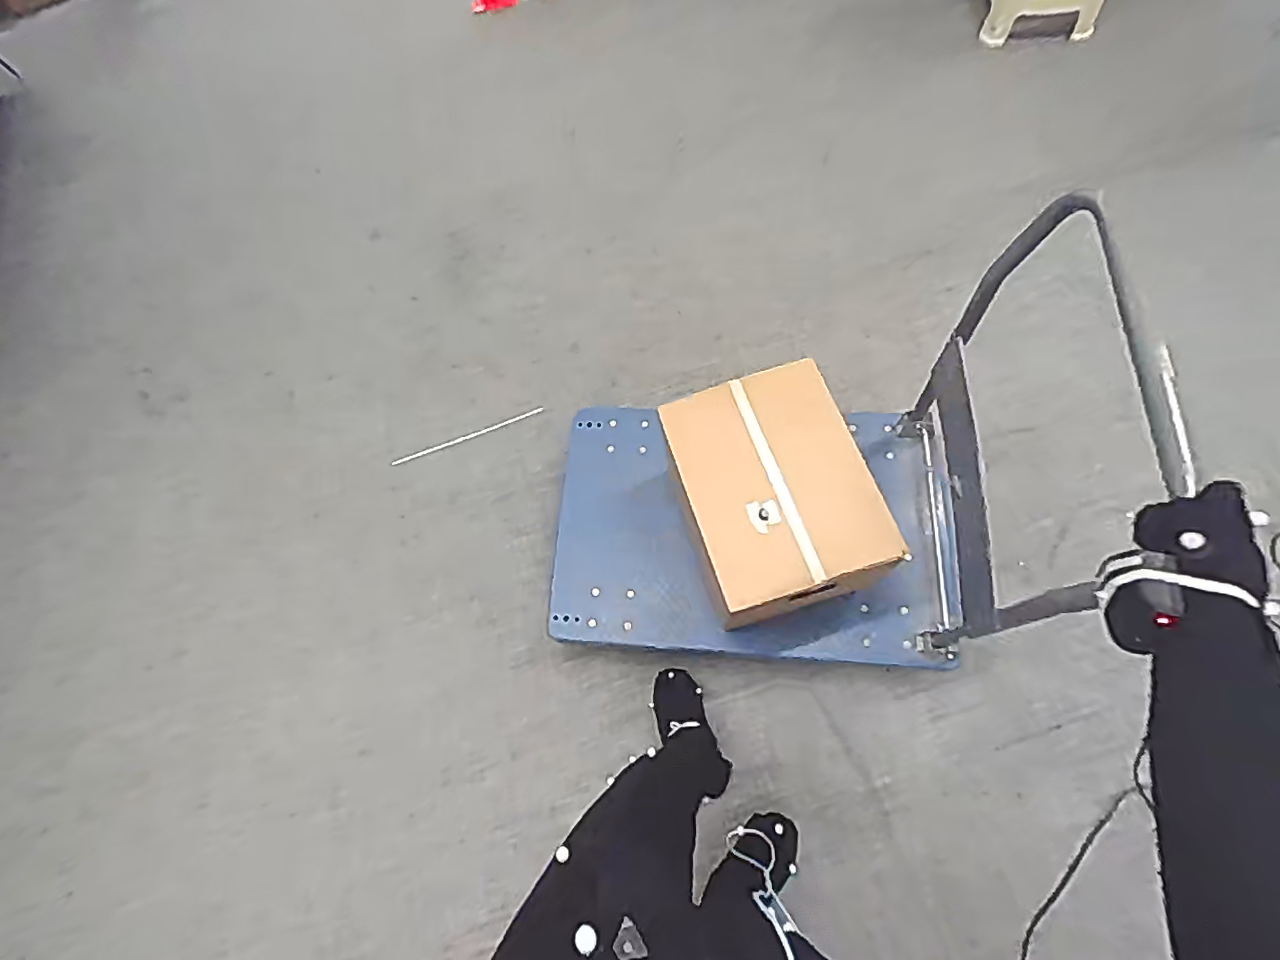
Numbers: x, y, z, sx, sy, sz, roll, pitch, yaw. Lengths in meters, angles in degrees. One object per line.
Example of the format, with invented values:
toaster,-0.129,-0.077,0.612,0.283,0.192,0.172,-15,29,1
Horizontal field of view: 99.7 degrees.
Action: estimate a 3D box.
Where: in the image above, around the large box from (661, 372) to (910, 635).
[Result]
large box,0.257,0.063,1.101,0.320,0.320,0.408,-19,68,0
